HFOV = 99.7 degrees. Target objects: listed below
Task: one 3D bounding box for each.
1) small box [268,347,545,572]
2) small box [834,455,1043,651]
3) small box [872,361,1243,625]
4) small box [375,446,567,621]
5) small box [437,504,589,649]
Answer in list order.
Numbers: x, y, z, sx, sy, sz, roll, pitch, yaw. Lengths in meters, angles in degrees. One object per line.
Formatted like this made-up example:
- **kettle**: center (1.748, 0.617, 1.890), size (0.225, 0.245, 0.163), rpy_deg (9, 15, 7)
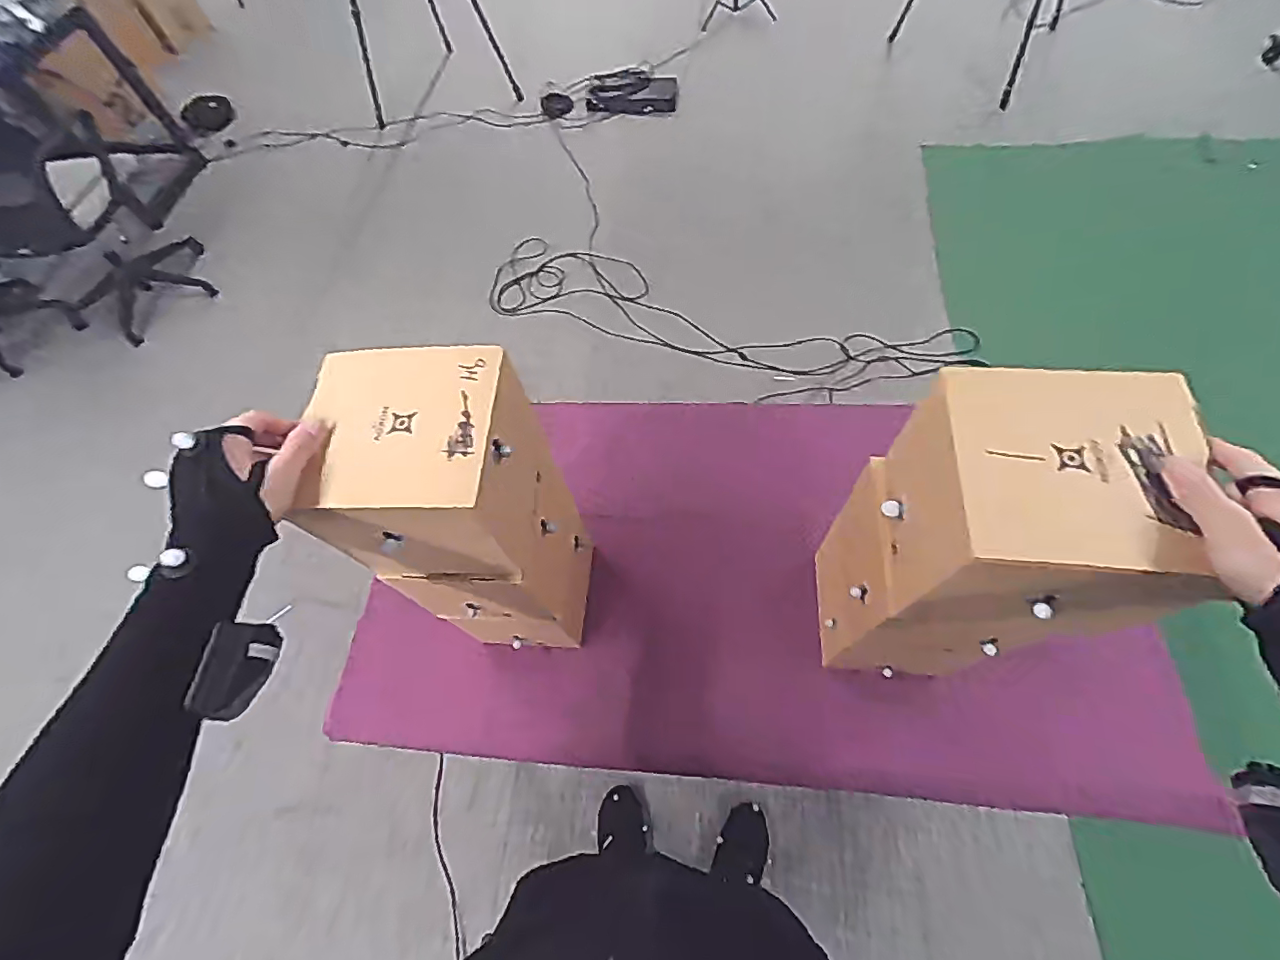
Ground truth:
- **small box**: center (-0.209, -0.011, 0.541), size (0.179, 0.176, 0.168), rpy_deg (-2, 62, 6)
- **small box**: center (0.325, 0.088, 0.608), size (0.168, 0.176, 0.179), rpy_deg (1, 61, 7)
- **small box**: center (0.315, 0.019, 0.459), size (0.179, 0.176, 0.168), rpy_deg (3, 62, 9)
- **small box**: center (-0.194, 0.068, 0.683), size (0.168, 0.176, 0.179), rpy_deg (0, 62, 6)
- **small box**: center (-0.178, 0.147, 0.825), size (0.168, 0.176, 0.179), rpy_deg (1, 62, 7)
